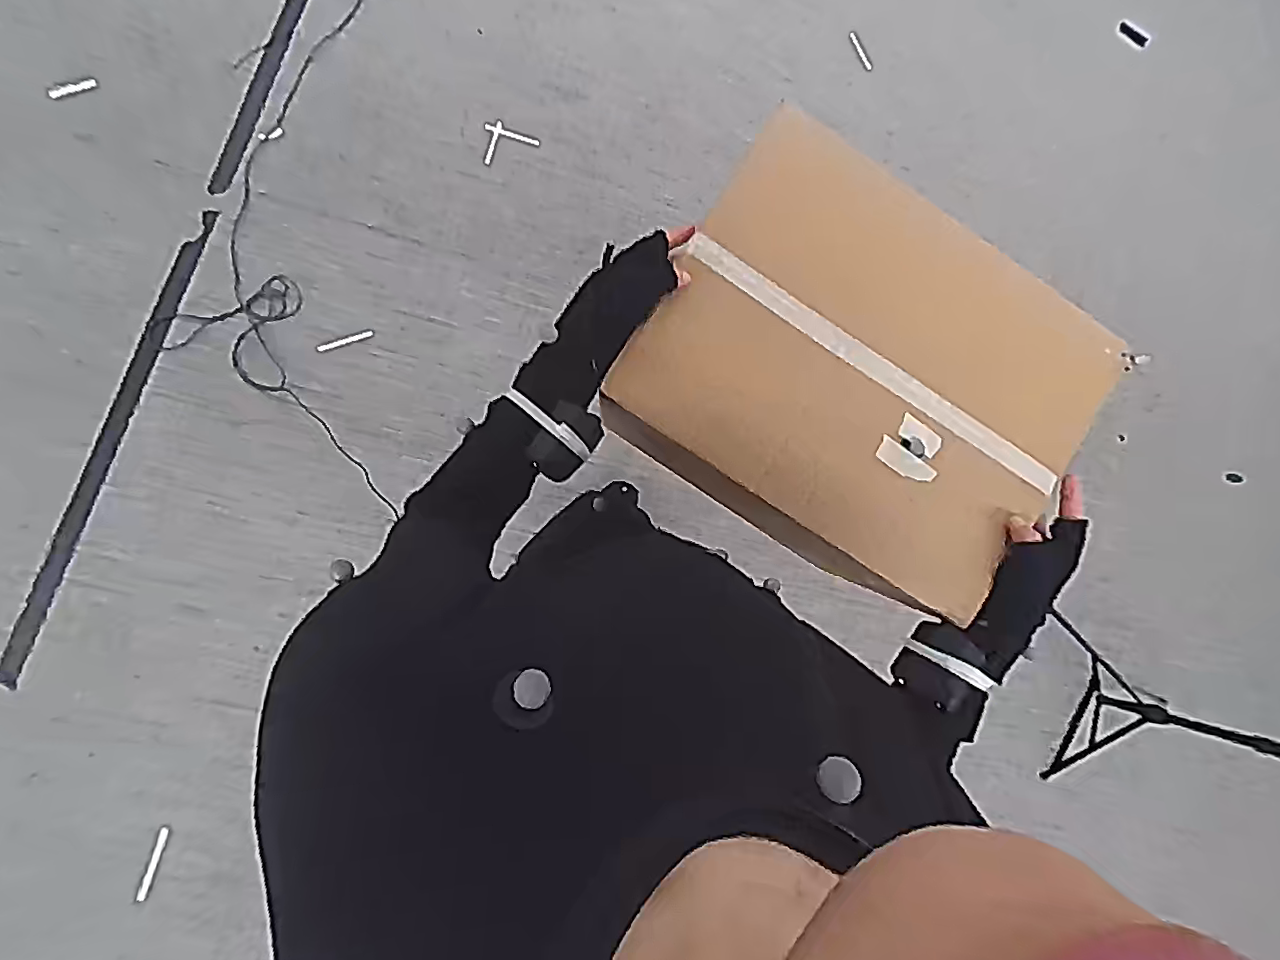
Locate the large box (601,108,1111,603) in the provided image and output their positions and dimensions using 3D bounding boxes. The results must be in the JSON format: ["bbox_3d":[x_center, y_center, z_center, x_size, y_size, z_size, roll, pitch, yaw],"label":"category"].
[{"bbox_3d":[0.200,-0.115,0.654,0.408,0.320,0.320,34,89,-5],"label":"large box"}]
